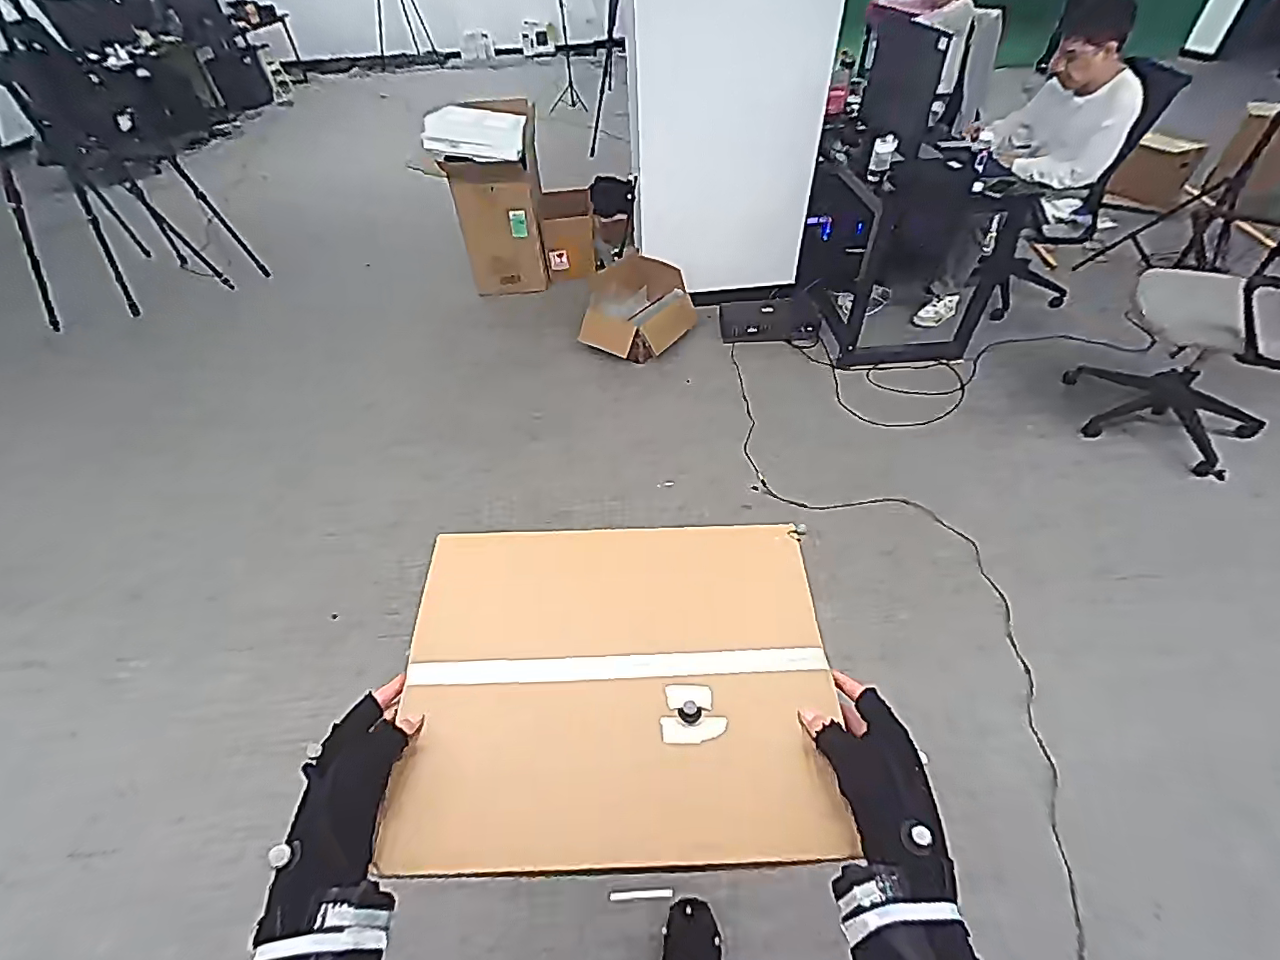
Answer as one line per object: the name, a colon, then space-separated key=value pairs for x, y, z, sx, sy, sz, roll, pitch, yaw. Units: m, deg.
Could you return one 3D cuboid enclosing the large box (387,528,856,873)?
large box: x=-0.020 y=0.274 z=0.657 sx=0.408 sy=0.320 sz=0.320 roll=-1 pitch=53 yaw=-1
